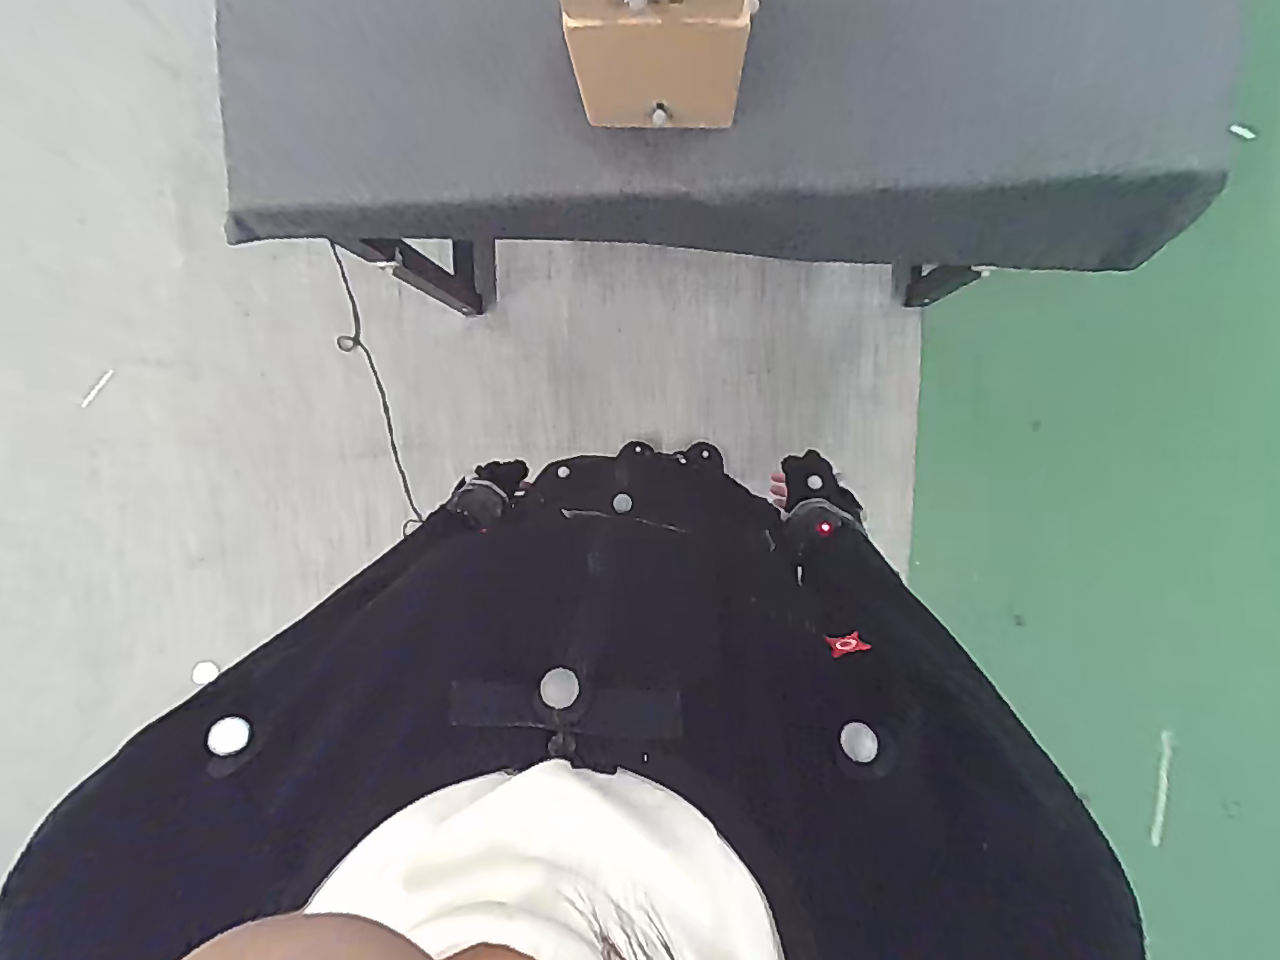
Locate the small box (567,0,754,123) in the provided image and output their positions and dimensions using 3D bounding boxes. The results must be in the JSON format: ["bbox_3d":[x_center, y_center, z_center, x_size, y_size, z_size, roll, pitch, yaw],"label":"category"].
[{"bbox_3d":[0.025,-0.512,0.577,0.179,0.176,0.168,3,94,3],"label":"small box"}]

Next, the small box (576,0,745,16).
[{"bbox_3d":[0.012,-0.510,0.415,0.168,0.176,0.179,2,96,5],"label":"small box"}]
